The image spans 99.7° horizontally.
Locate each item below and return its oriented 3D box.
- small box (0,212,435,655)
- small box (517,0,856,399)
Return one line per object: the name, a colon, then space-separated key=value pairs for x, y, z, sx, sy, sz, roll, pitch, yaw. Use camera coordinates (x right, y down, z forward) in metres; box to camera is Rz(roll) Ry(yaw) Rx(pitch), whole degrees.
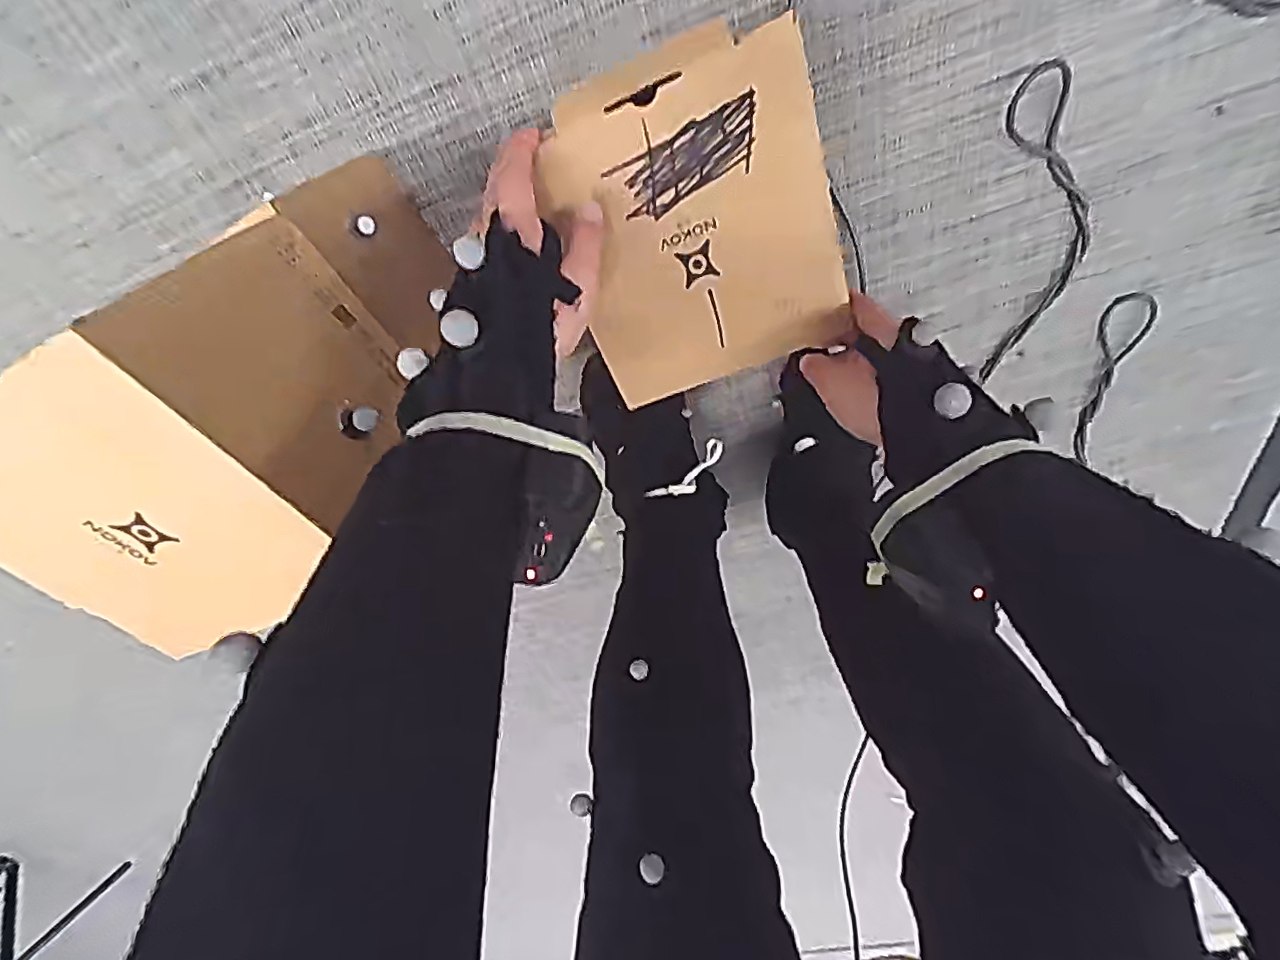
small box: x=-0.249 y=-0.028 z=0.324 sx=0.179 sy=0.176 sz=0.168 roll=-21 pitch=127 yaw=17
small box: x=0.037 y=-0.191 z=0.390 sx=0.168 sy=0.176 sz=0.179 roll=-17 pitch=123 yaw=14
